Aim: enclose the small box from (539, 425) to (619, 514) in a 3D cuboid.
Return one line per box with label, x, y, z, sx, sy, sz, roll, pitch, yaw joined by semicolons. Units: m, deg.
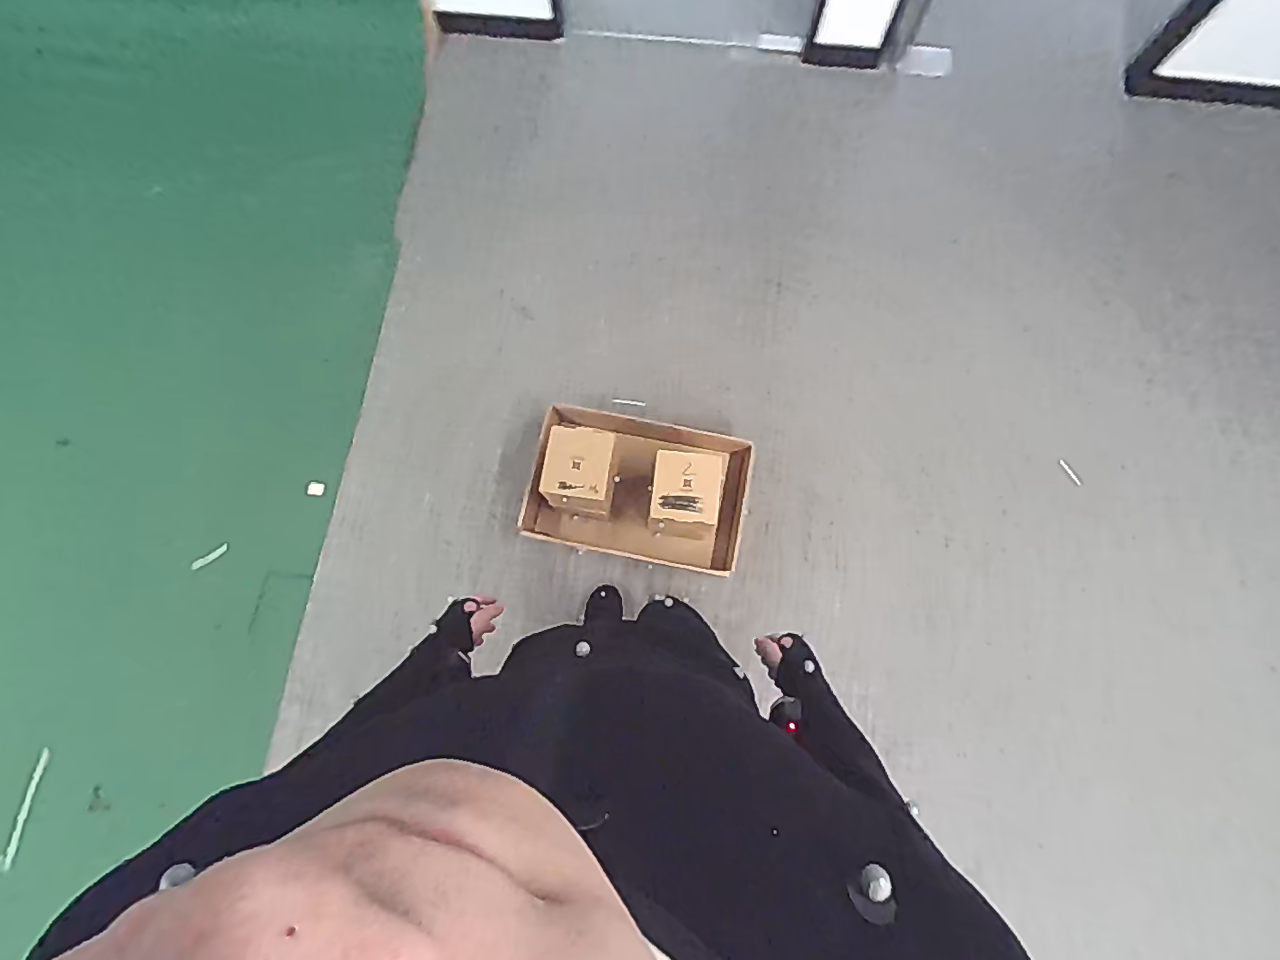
small box;-0.150;-0.023;1.409;0.168;0.176;0.179;9;76;4
